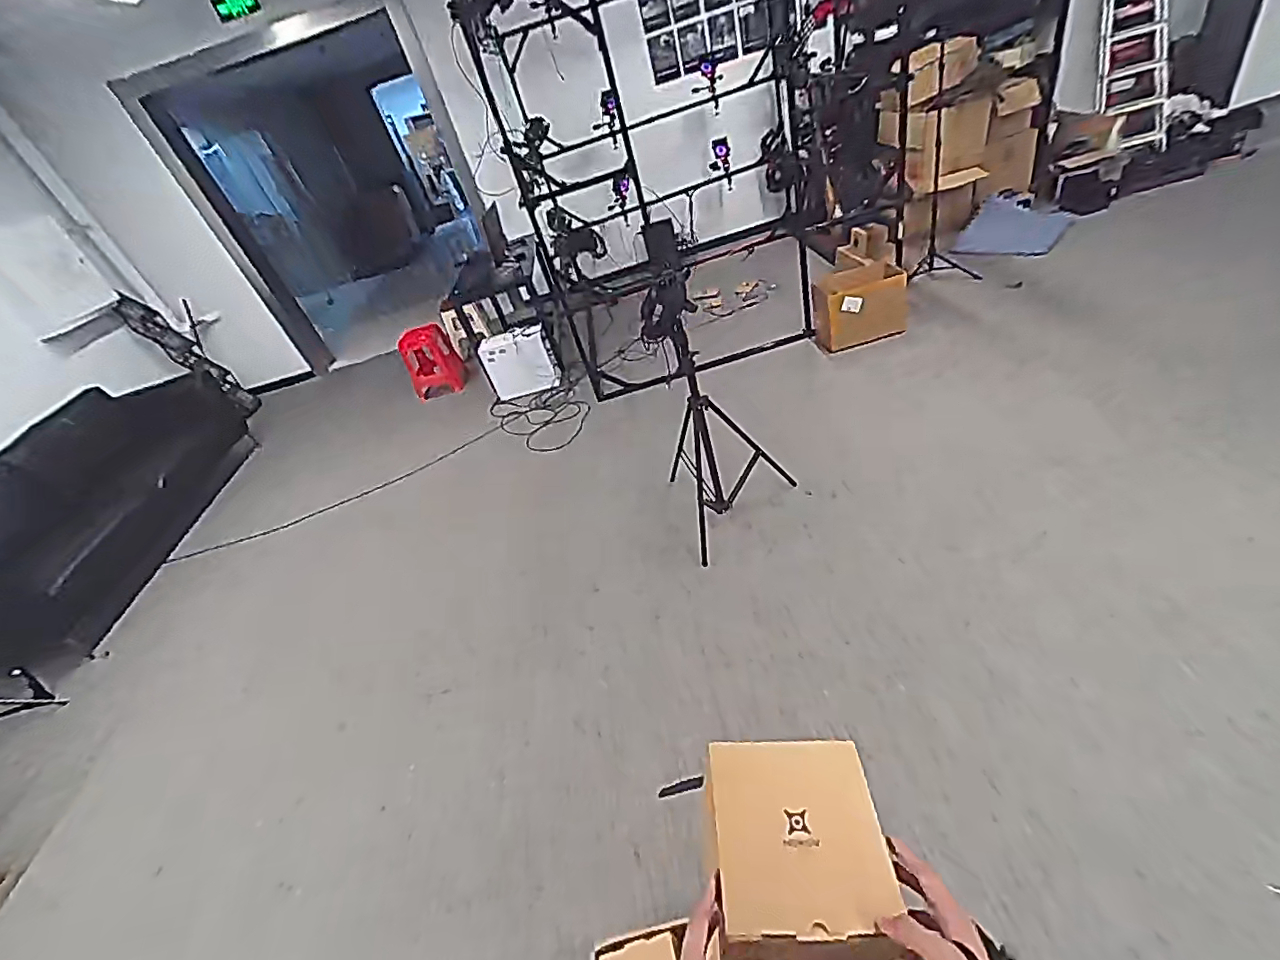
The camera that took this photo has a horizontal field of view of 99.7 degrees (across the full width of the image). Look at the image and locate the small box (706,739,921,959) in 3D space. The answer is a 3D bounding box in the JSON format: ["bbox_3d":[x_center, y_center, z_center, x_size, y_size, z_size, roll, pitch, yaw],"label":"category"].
[{"bbox_3d":[0.163,0.406,0.579,0.168,0.176,0.179,-1,36,1],"label":"small box"}]
